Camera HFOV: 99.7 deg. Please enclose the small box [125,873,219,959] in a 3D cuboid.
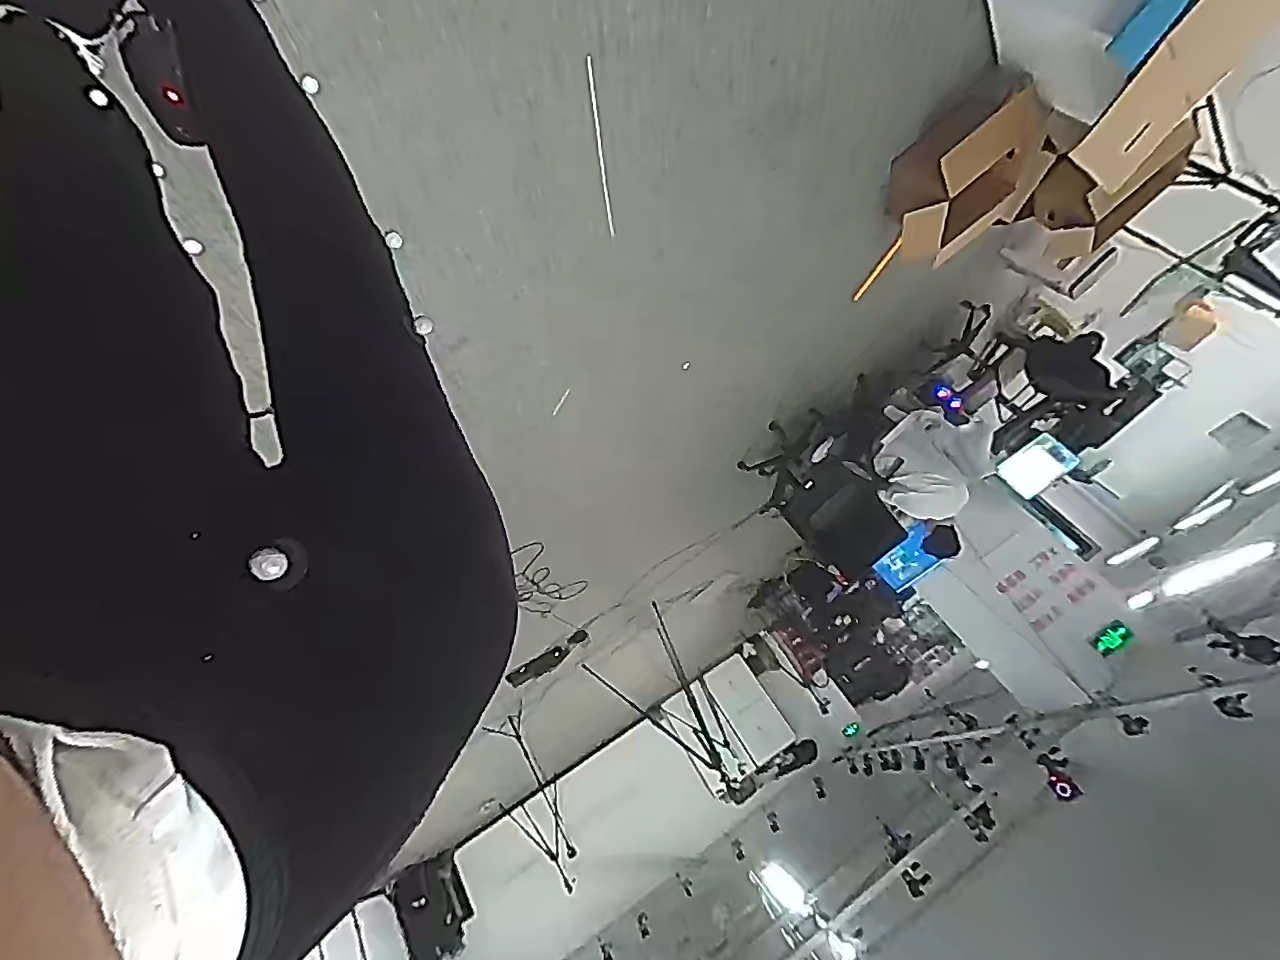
[{"bbox_3d":[-1.554,1.445,1.797,0.168,0.176,0.179,-28,153,-18],"label":"small box"}]
